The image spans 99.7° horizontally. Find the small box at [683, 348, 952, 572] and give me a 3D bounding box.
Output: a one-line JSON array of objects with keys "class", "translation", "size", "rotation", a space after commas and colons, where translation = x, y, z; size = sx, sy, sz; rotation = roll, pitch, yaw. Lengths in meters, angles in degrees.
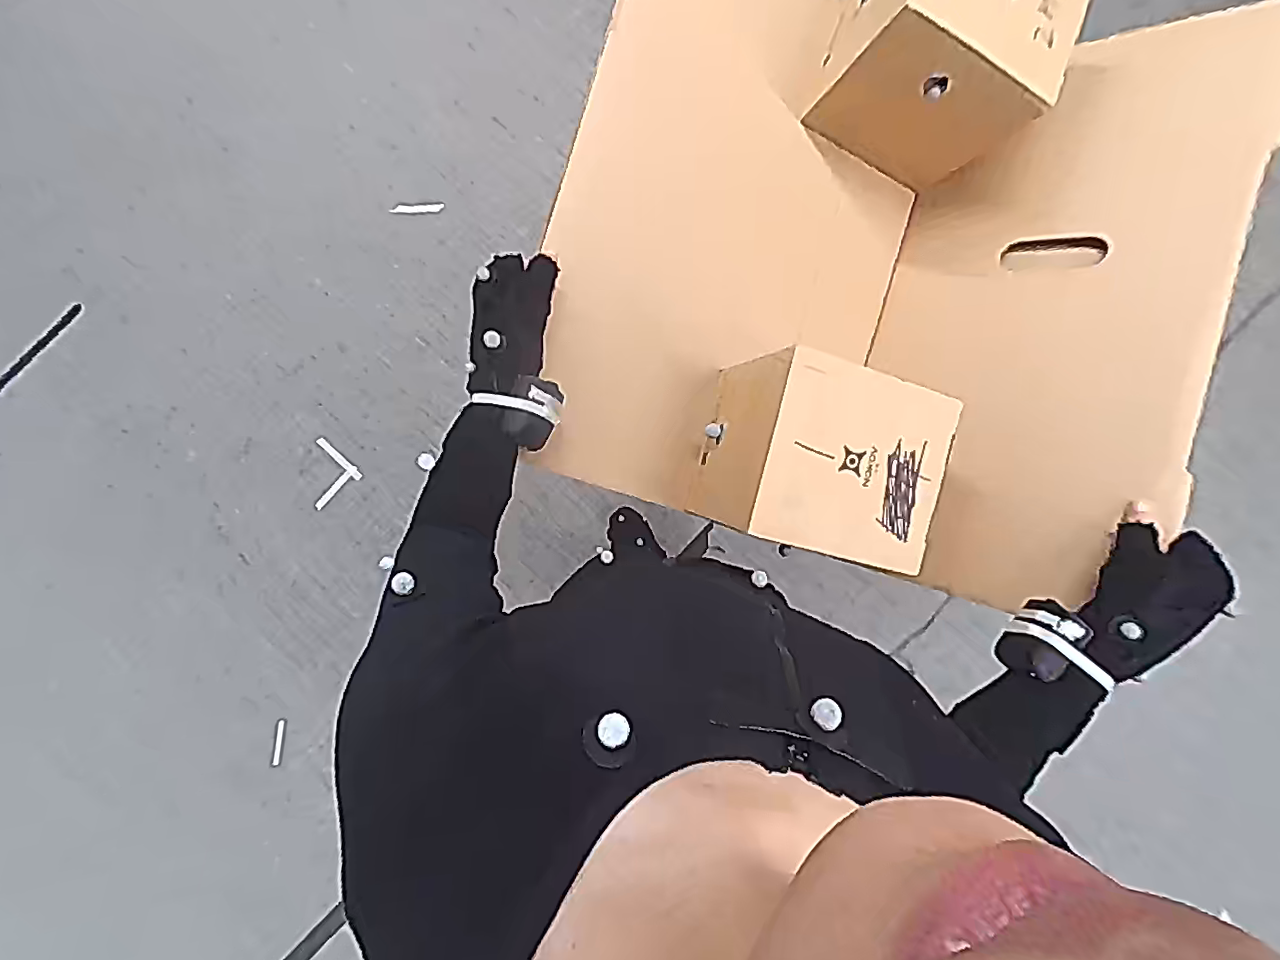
[{"class": "small box", "translation": [0.165, -0.019, 0.550], "size": [0.179, 0.176, 0.168], "rotation": [14, 90, -13]}]

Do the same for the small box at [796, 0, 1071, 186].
[{"class": "small box", "translation": [0.294, -0.447, 0.562], "size": [0.179, 0.176, 0.168], "rotation": [21, 87, -15]}]
